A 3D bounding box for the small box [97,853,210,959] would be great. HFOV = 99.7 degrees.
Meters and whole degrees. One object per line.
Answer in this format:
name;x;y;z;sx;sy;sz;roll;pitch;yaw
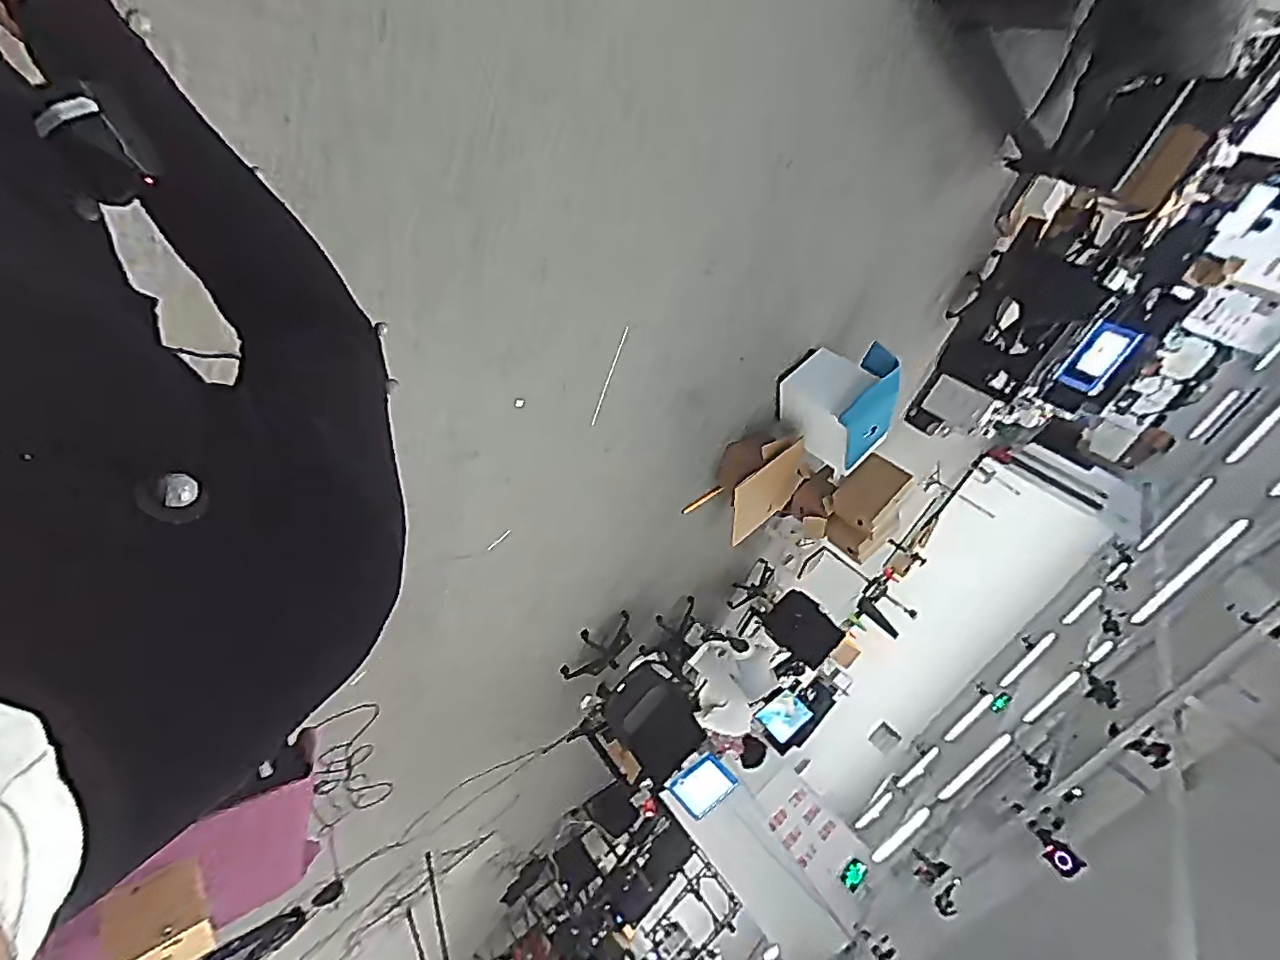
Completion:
small box;-1.127;1.020;1.258;0.168;0.176;0.179;-15;136;-43
